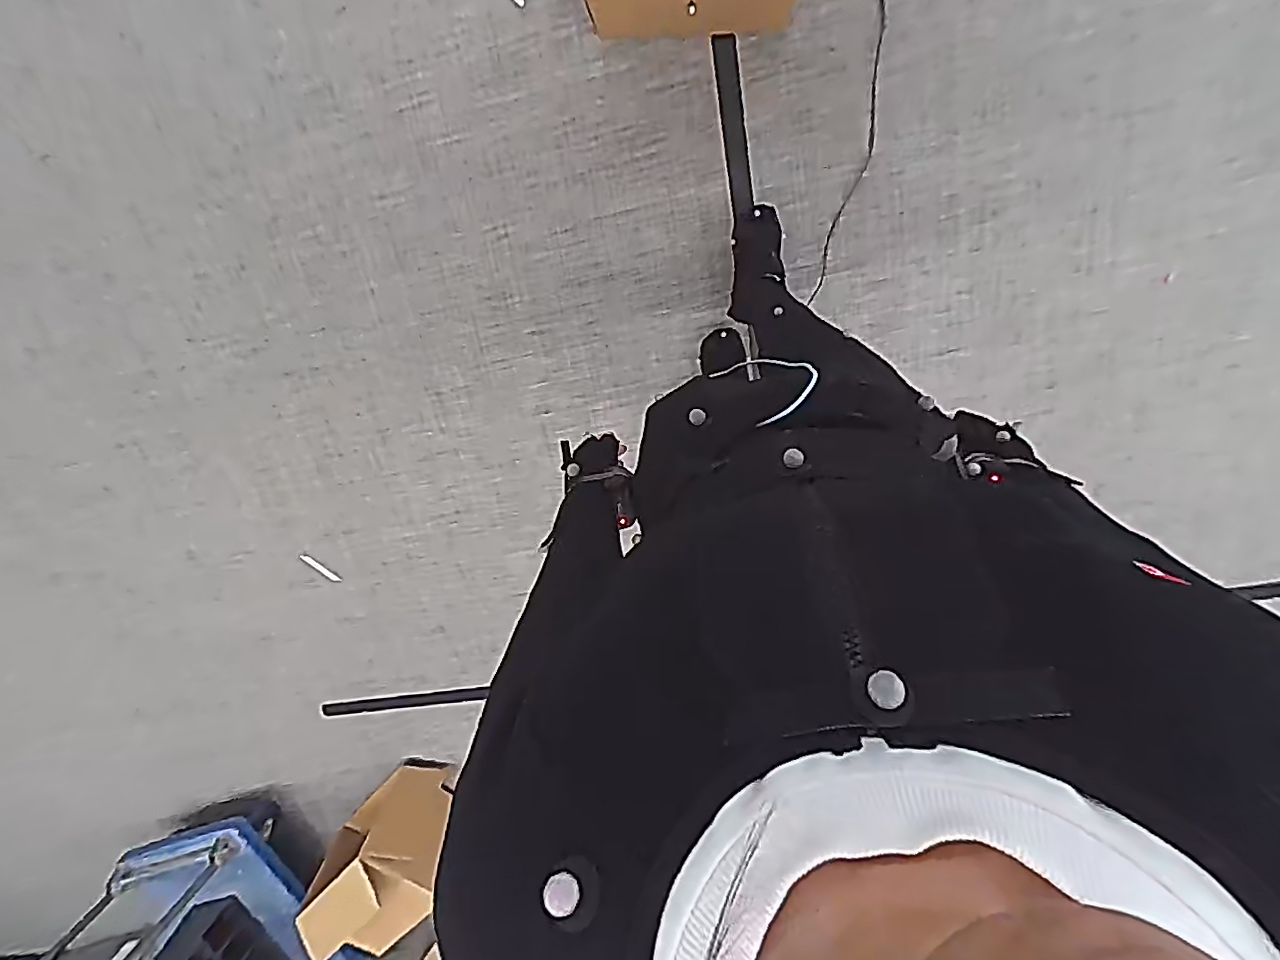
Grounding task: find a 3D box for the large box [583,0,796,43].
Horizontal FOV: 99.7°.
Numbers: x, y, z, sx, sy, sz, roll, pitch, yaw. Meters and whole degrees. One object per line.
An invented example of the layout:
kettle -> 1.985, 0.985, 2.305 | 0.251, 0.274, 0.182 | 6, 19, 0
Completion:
large box -> 0.094, -1.041, 0.971 | 0.408, 0.320, 0.320 | 2, 108, 6
